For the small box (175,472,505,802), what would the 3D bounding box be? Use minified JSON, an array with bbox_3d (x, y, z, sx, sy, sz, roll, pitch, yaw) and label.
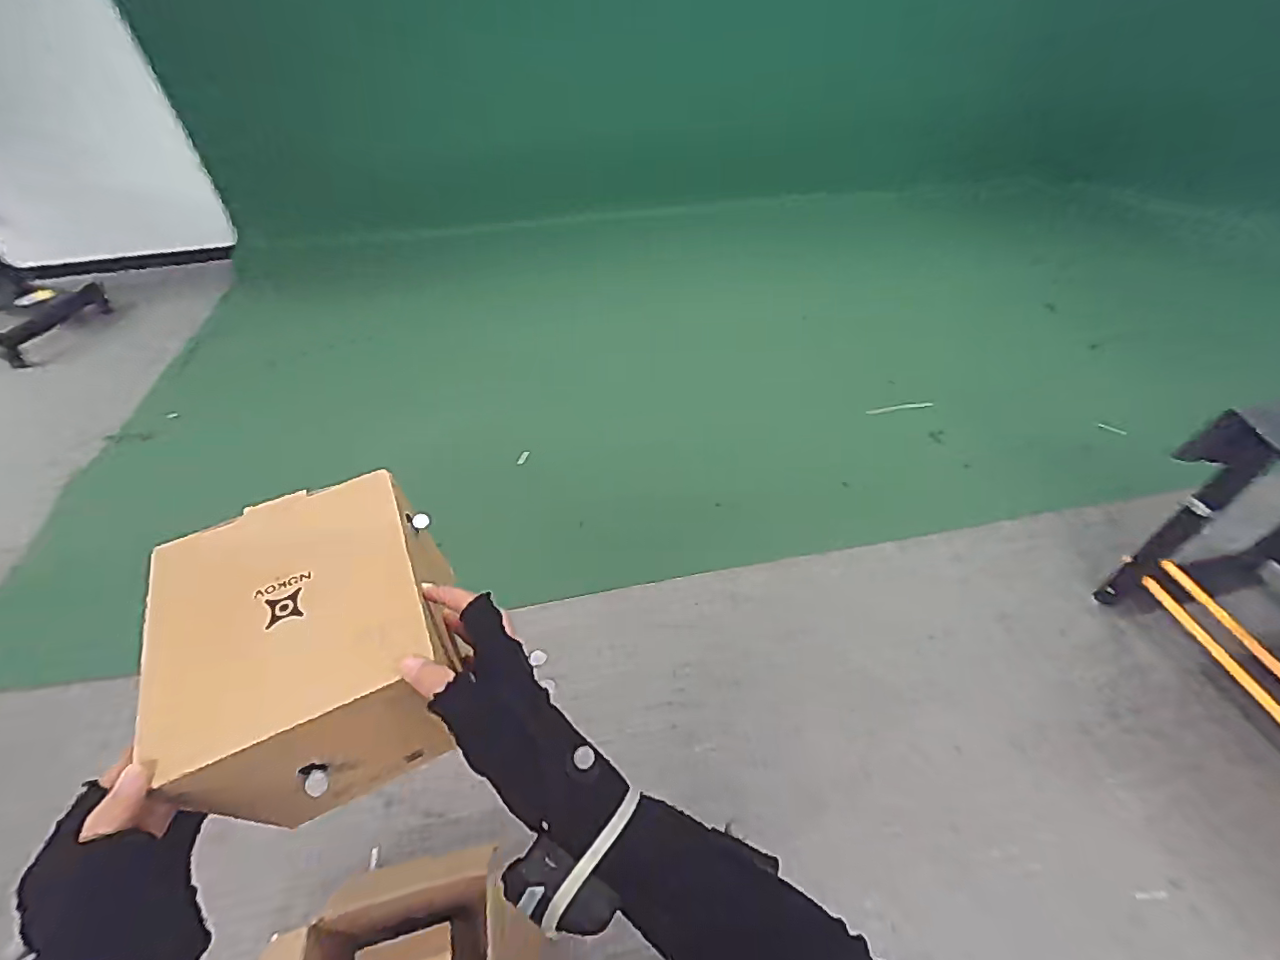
[{"bbox_3d":[-0.222,0.131,0.432,0.168,0.176,0.179,-22,55,-15],"label":"small box"}]
